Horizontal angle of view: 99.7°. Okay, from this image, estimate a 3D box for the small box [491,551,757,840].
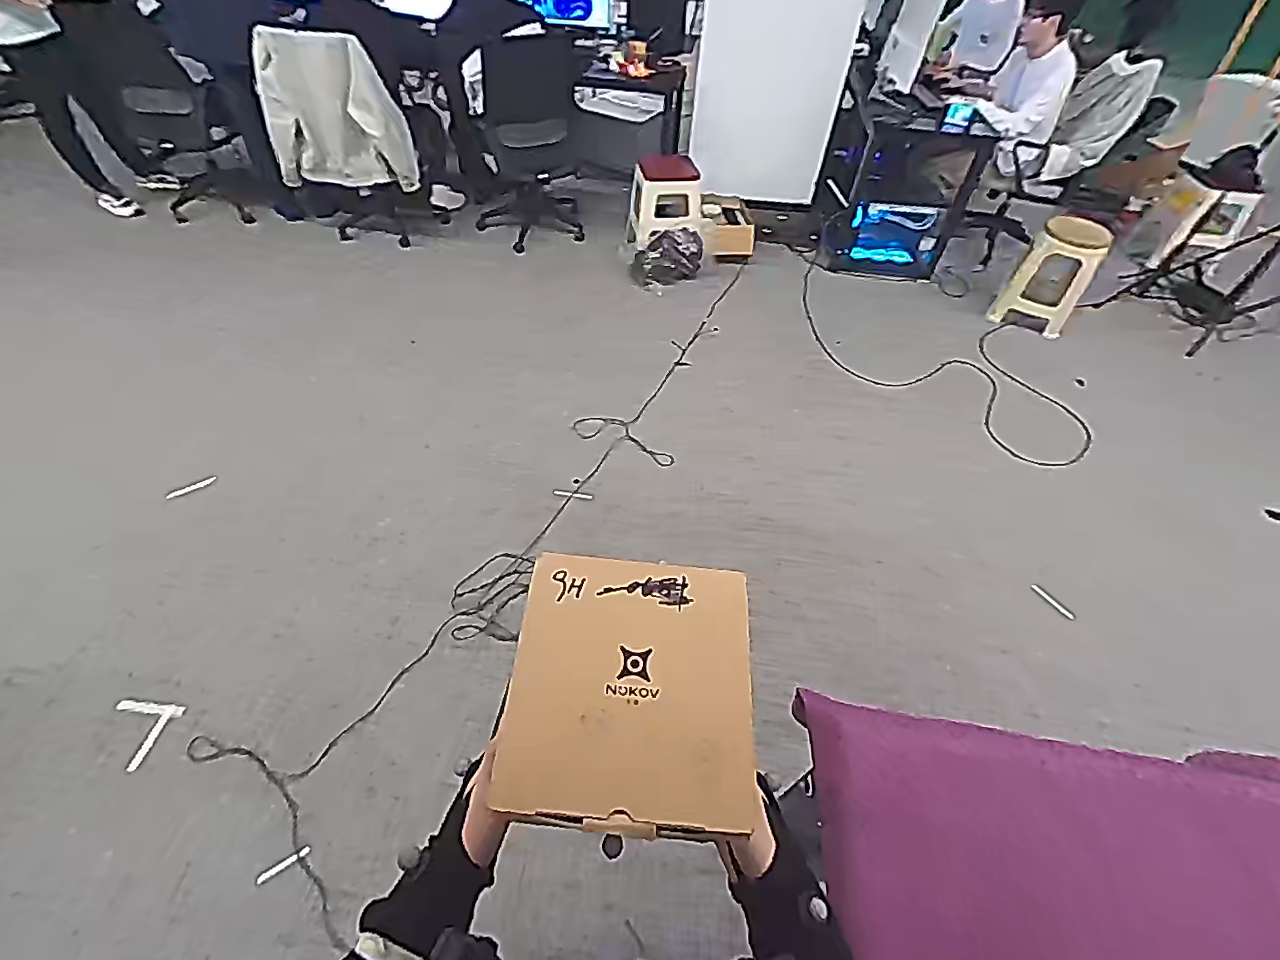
[{"bbox_3d":[-0.008,0.178,0.436,0.168,0.176,0.179,6,56,-2],"label":"small box"}]
